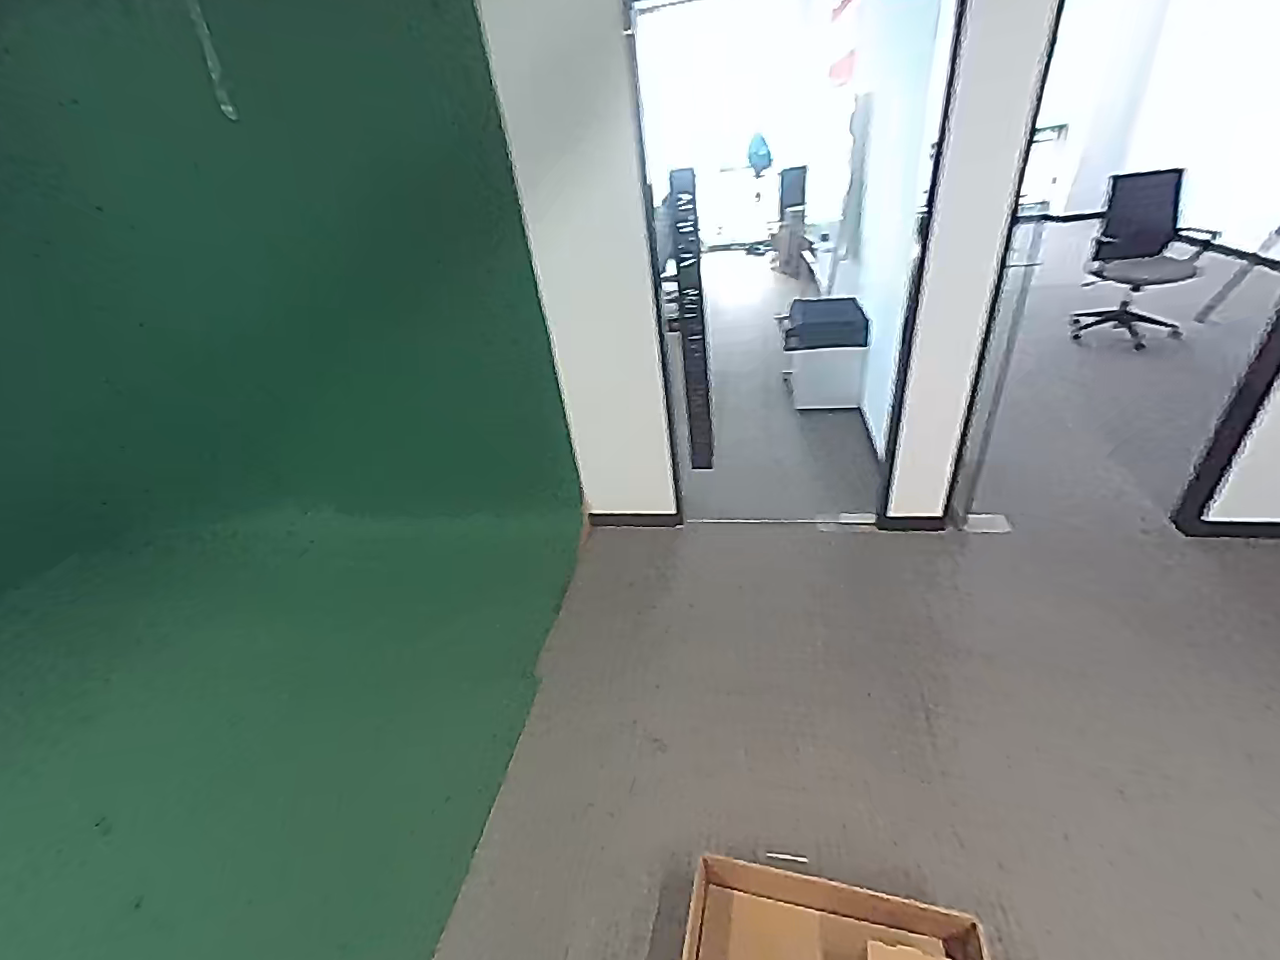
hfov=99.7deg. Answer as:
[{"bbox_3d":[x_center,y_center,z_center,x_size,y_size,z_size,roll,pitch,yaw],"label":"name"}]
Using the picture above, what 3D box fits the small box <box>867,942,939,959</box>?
[{"bbox_3d":[0.539,1.076,1.074,0.168,0.176,0.179,2,34,17],"label":"small box"}]
